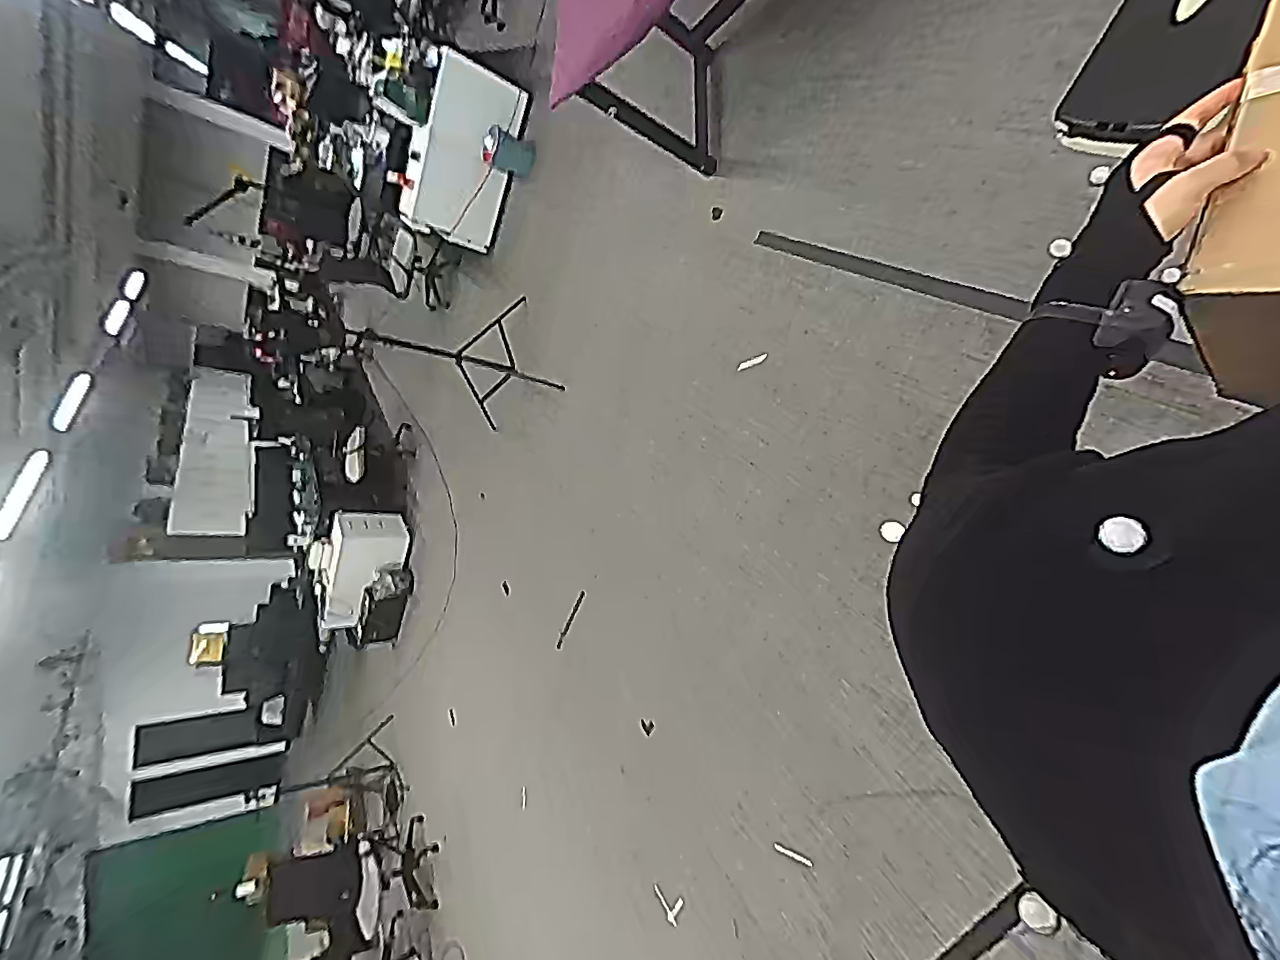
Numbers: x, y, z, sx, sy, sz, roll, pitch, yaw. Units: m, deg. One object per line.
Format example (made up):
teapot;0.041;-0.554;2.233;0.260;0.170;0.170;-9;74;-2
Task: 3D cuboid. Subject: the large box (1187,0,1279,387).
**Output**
large box;0.702;-0.234;0.353;0.408;0.320;0.320;20;97;52
